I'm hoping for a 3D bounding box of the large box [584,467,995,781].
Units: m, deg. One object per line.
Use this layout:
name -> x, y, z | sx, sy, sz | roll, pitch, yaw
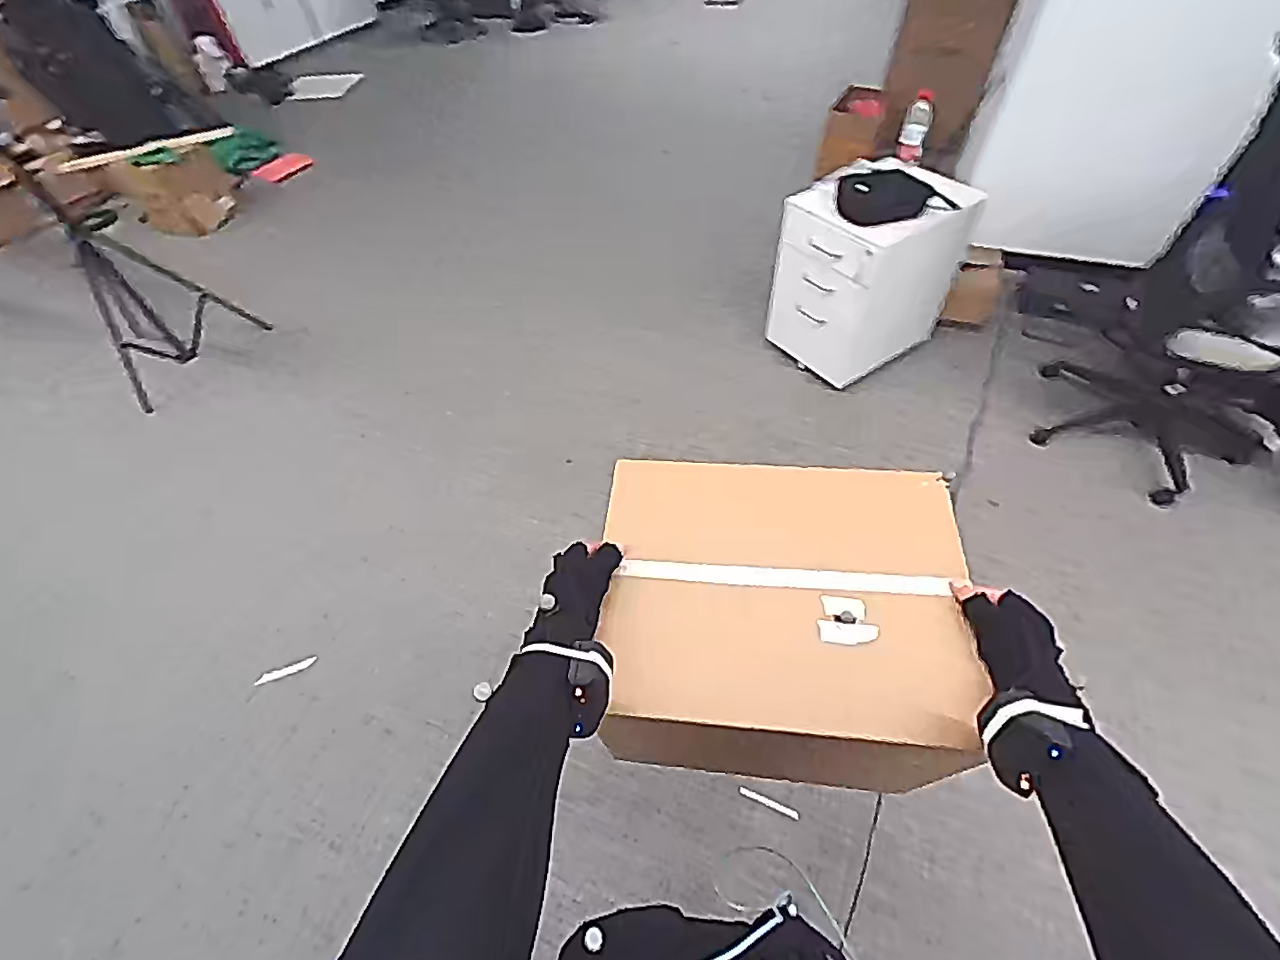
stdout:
large box -> 0.161, 0.200, 0.732 | 0.408, 0.320, 0.320 | 3, 56, 7
